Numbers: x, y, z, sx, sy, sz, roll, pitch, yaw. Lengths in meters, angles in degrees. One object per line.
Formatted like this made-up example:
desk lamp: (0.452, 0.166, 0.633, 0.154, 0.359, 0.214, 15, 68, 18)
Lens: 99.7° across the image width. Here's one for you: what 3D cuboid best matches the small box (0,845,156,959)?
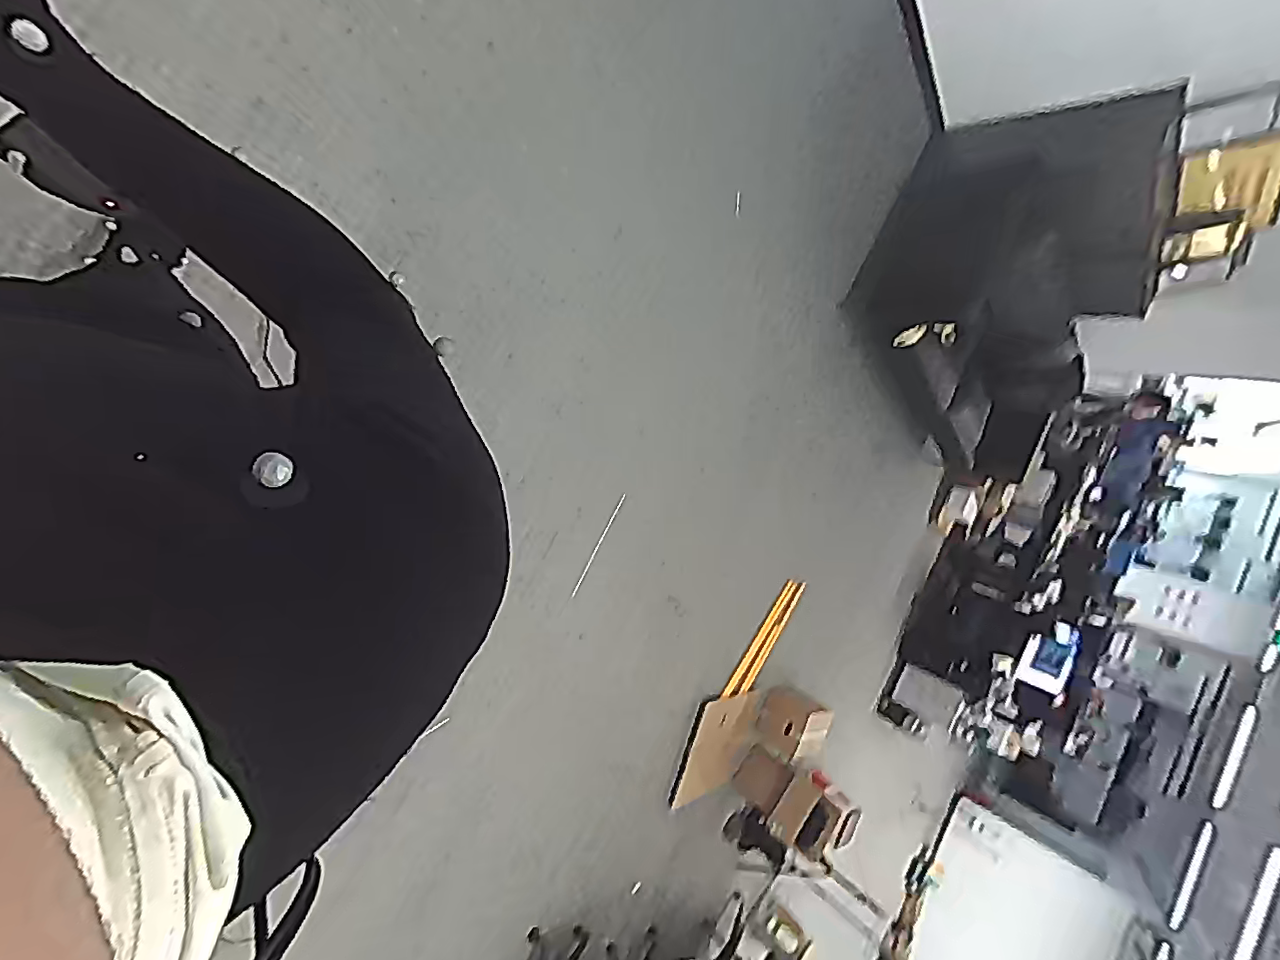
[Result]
small box: (-0.762, 0.602, 0.689, 0.168, 0.176, 0.179, 28, 87, -44)
